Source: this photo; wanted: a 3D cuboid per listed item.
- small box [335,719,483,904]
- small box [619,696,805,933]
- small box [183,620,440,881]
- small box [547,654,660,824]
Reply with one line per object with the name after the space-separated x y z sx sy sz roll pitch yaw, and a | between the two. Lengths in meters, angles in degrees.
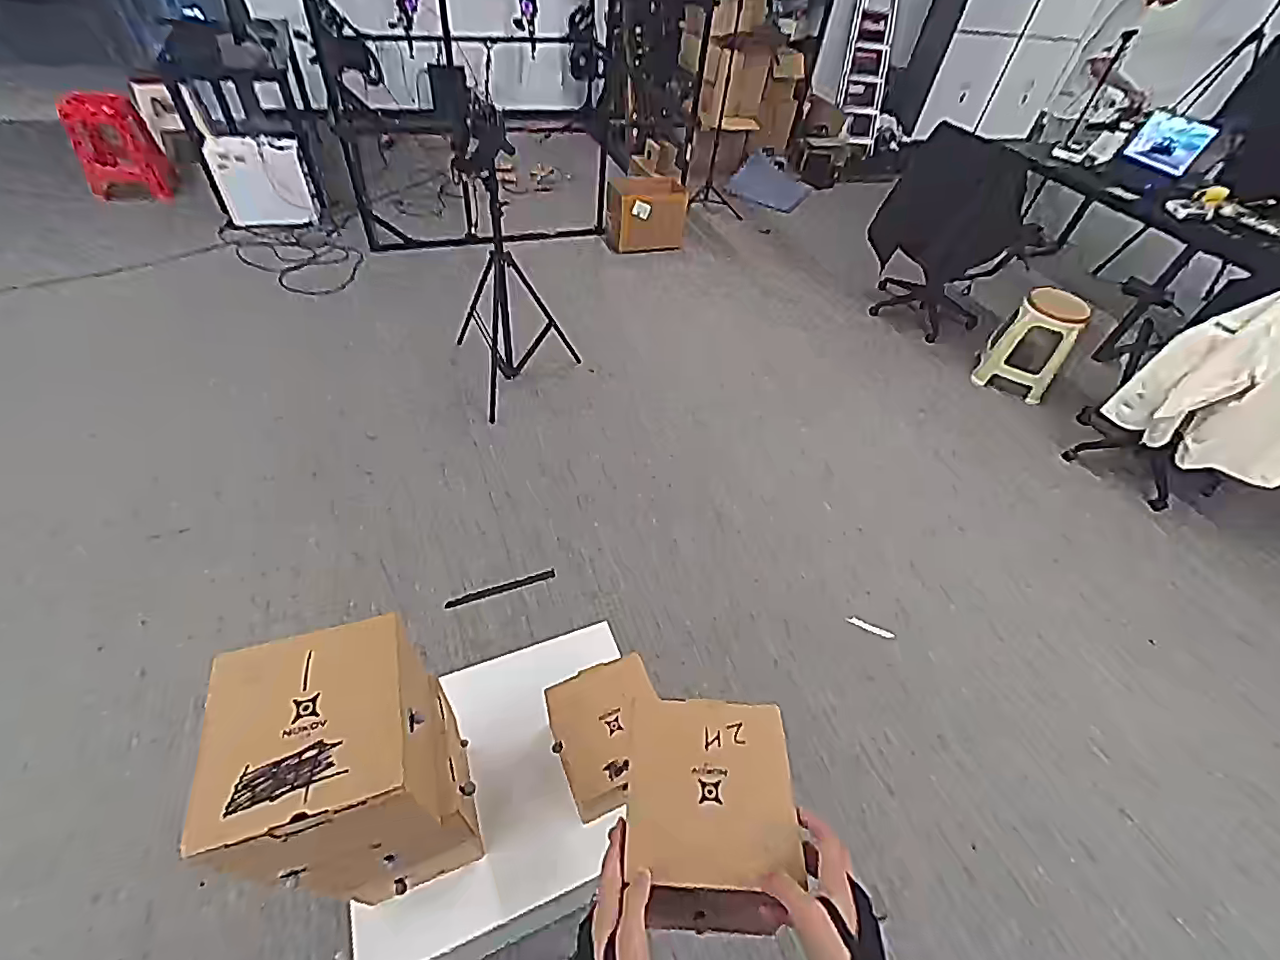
-0.334 0.488 0.793 0.168 0.176 0.179 -13 51 -19 | small box
0.066 0.364 0.588 0.168 0.176 0.179 5 40 0 | small box
-0.307 0.274 0.544 0.168 0.176 0.179 -11 50 -17 | small box
-0.046 0.424 0.885 0.168 0.176 0.179 -17 52 -20 | small box
